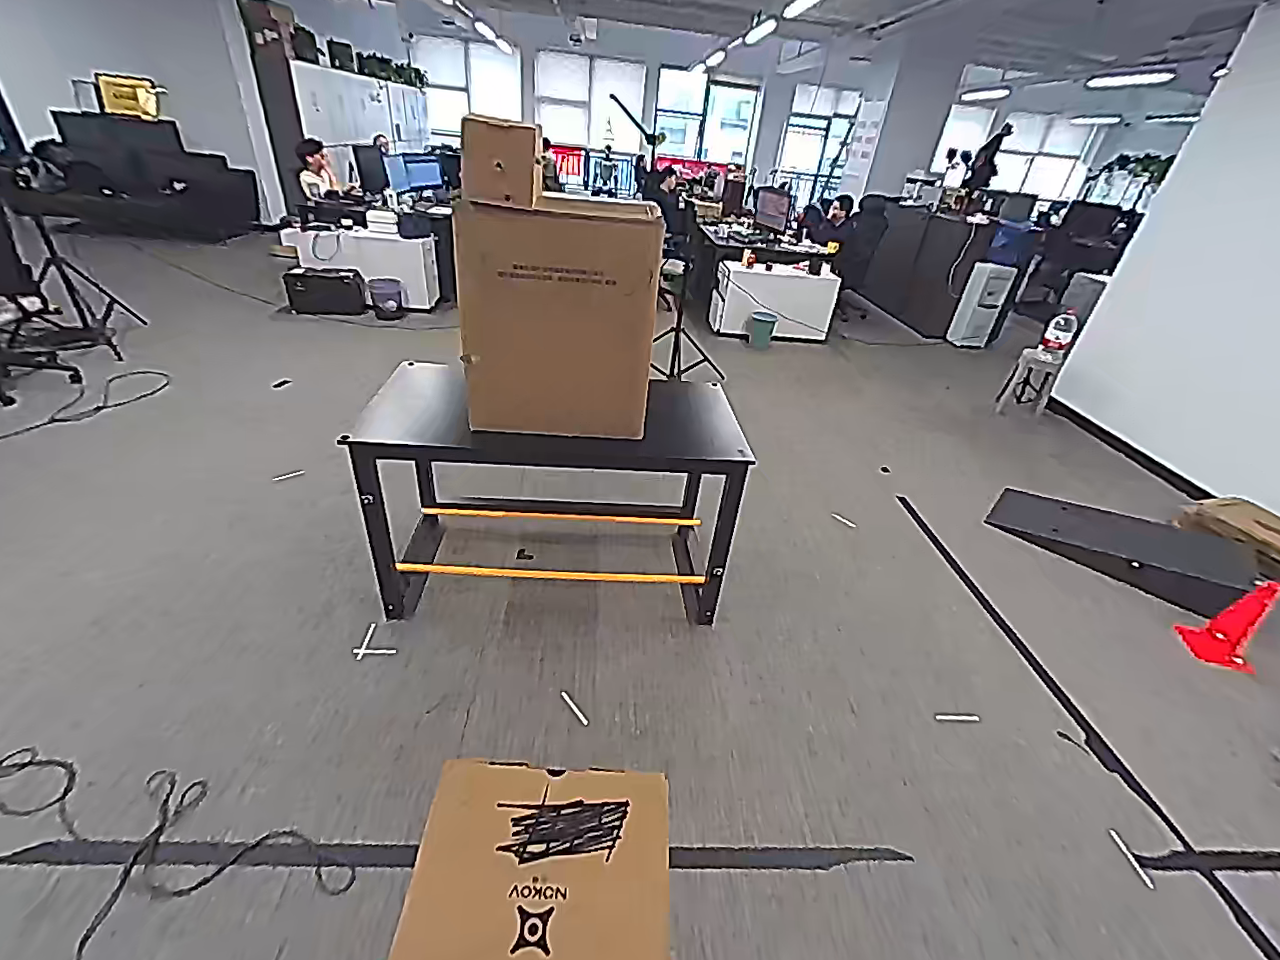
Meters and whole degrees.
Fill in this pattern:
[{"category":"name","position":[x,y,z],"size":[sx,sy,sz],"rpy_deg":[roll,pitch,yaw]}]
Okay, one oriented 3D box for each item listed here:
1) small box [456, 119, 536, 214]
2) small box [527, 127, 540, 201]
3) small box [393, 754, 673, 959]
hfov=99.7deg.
[{"category":"small box","position":[-0.339,-0.751,1.297],"size":[0.168,0.176,0.179],"rpy_deg":[3,35,-10]},{"category":"small box","position":[-0.359,-0.856,1.458],"size":[0.168,0.176,0.179],"rpy_deg":[1,32,-7]},{"category":"small box","position":[-0.068,0.327,0.388],"size":[0.168,0.176,0.179],"rpy_deg":[4,39,-2]}]
